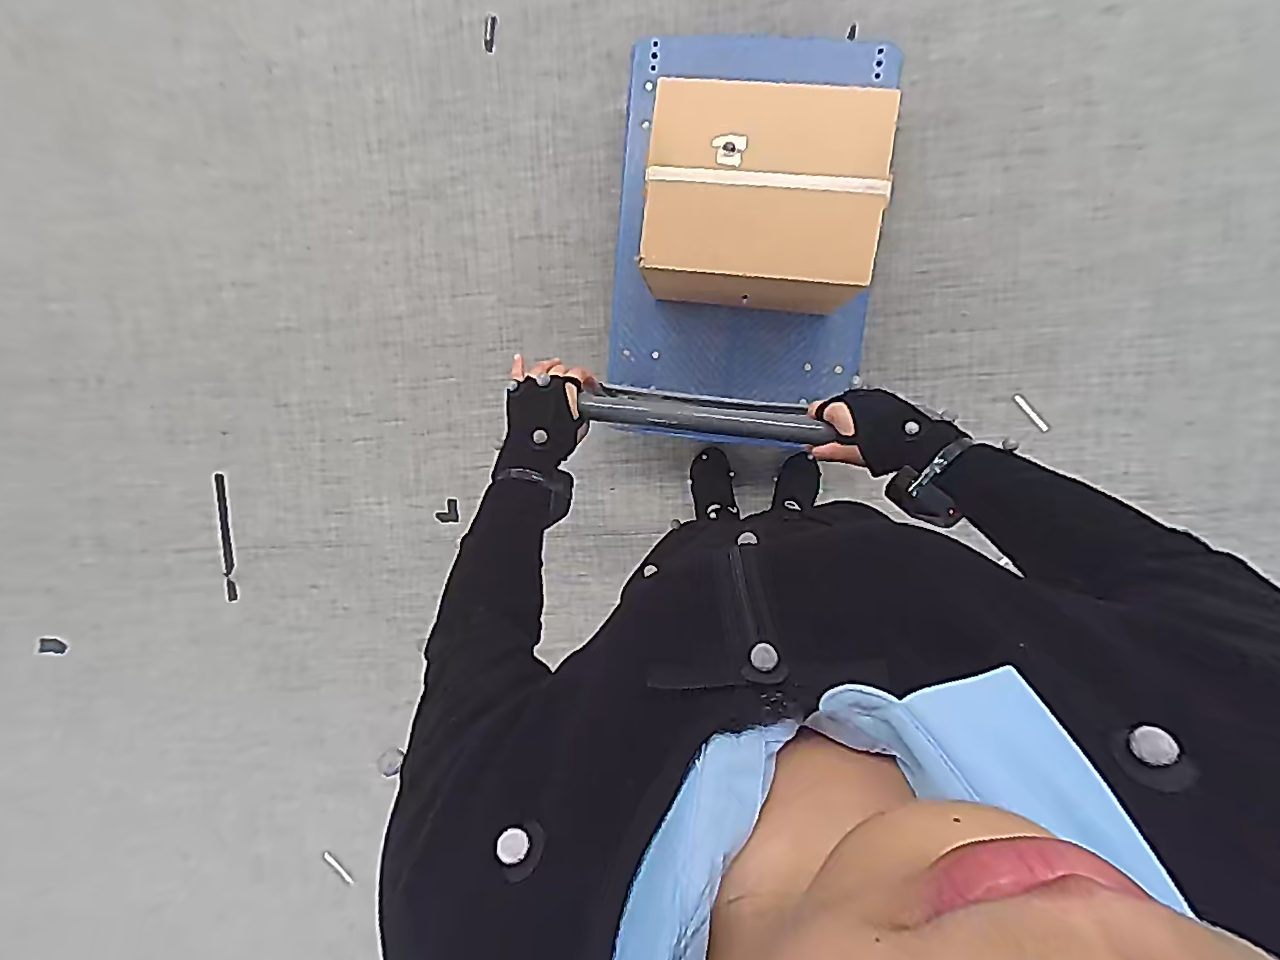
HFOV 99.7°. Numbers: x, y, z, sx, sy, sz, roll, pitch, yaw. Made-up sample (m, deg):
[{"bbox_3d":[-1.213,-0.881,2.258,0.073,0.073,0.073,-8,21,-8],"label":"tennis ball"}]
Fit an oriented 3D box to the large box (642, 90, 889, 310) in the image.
[{"bbox_3d":[0.232,-0.535,1.093,0.408,0.320,0.320,7,98,7],"label":"large box"}]
